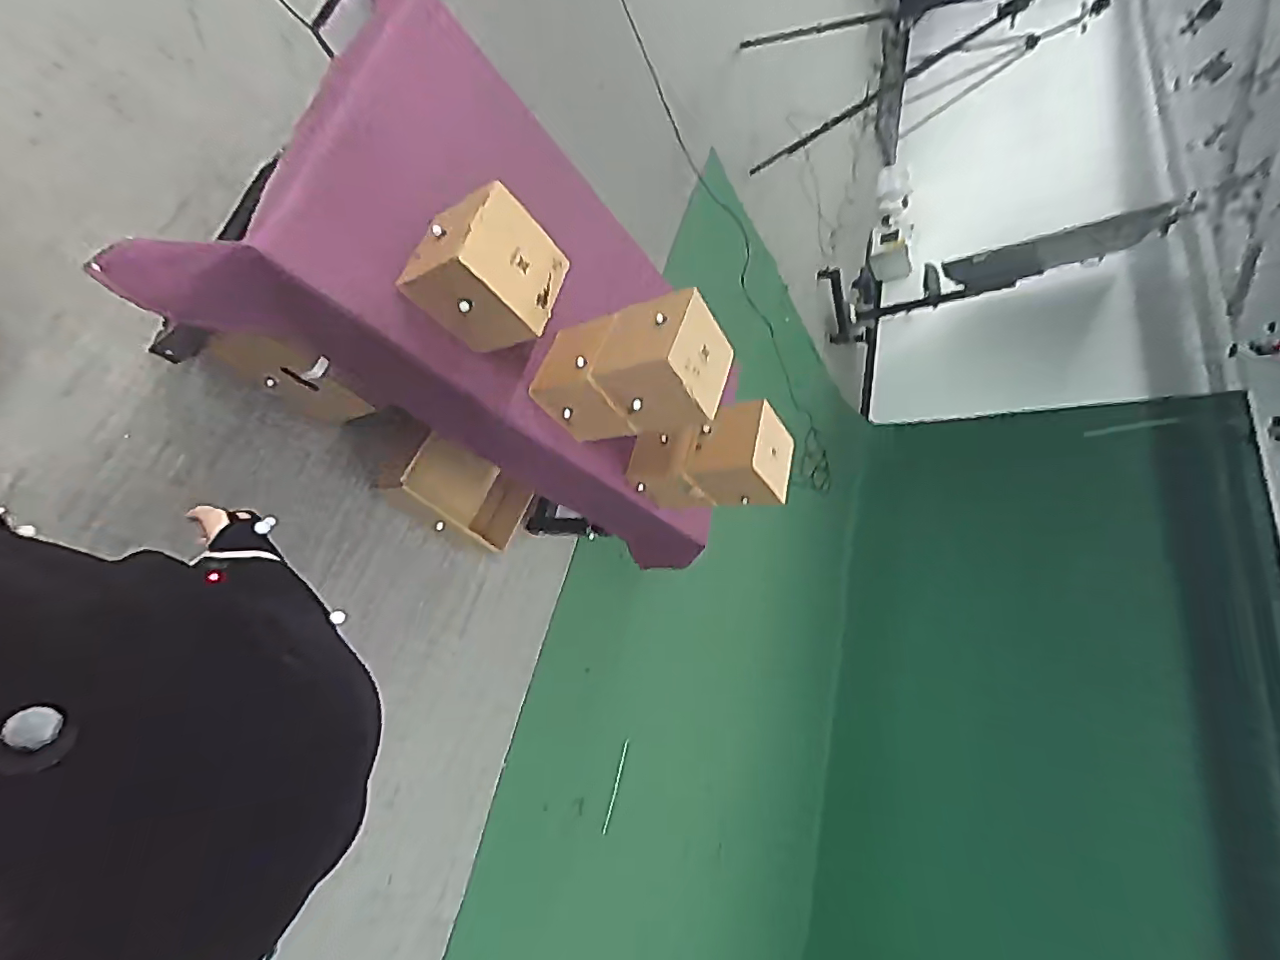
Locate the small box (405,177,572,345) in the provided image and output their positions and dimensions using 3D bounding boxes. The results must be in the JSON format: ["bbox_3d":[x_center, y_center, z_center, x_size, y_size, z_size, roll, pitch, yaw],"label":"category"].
[{"bbox_3d":[-0.249,-0.345,0.892,0.179,0.176,0.168,39,59,-43],"label":"small box"}]

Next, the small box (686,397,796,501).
[{"bbox_3d":[0.230,-0.063,1.217,0.179,0.176,0.168,40,57,-42],"label":"small box"}]

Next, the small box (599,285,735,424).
[{"bbox_3d":[0.050,-0.224,1.001,0.168,0.176,0.179,46,55,-39],"label":"small box"}]

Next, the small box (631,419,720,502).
[{"bbox_3d":[0.099,-0.057,1.315,0.168,0.176,0.179,39,58,-43],"label":"small box"}]

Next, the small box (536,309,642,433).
[{"bbox_3d":[-0.082,-0.213,1.100,0.168,0.176,0.179,45,56,-40],"label":"small box"}]
